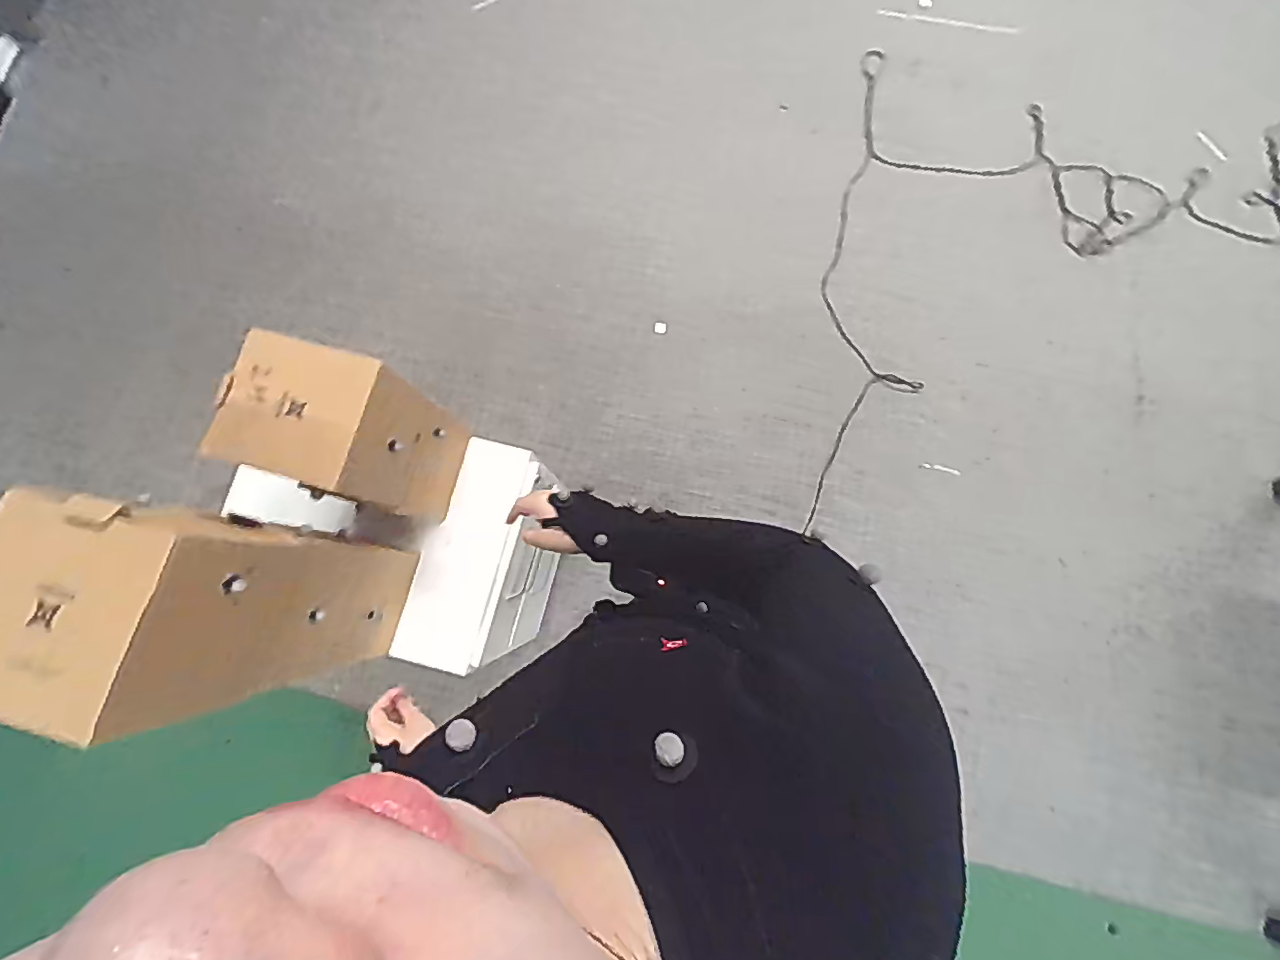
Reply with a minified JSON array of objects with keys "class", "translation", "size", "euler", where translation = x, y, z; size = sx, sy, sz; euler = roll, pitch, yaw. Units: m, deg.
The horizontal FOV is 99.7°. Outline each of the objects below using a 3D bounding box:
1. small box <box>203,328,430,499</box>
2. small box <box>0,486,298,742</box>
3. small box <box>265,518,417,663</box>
[{"class":"small box","translation":[-0.410,-0.076,0.722],"size":[0.179,0.176,0.168],"euler":[14,82,4]},{"class":"small box","translation":[-0.478,0.120,0.526],"size":[0.168,0.176,0.179],"euler":[14,81,5]},{"class":"small box","translation":[-0.479,0.169,0.850],"size":[0.168,0.176,0.179],"euler":[13,80,3]}]
